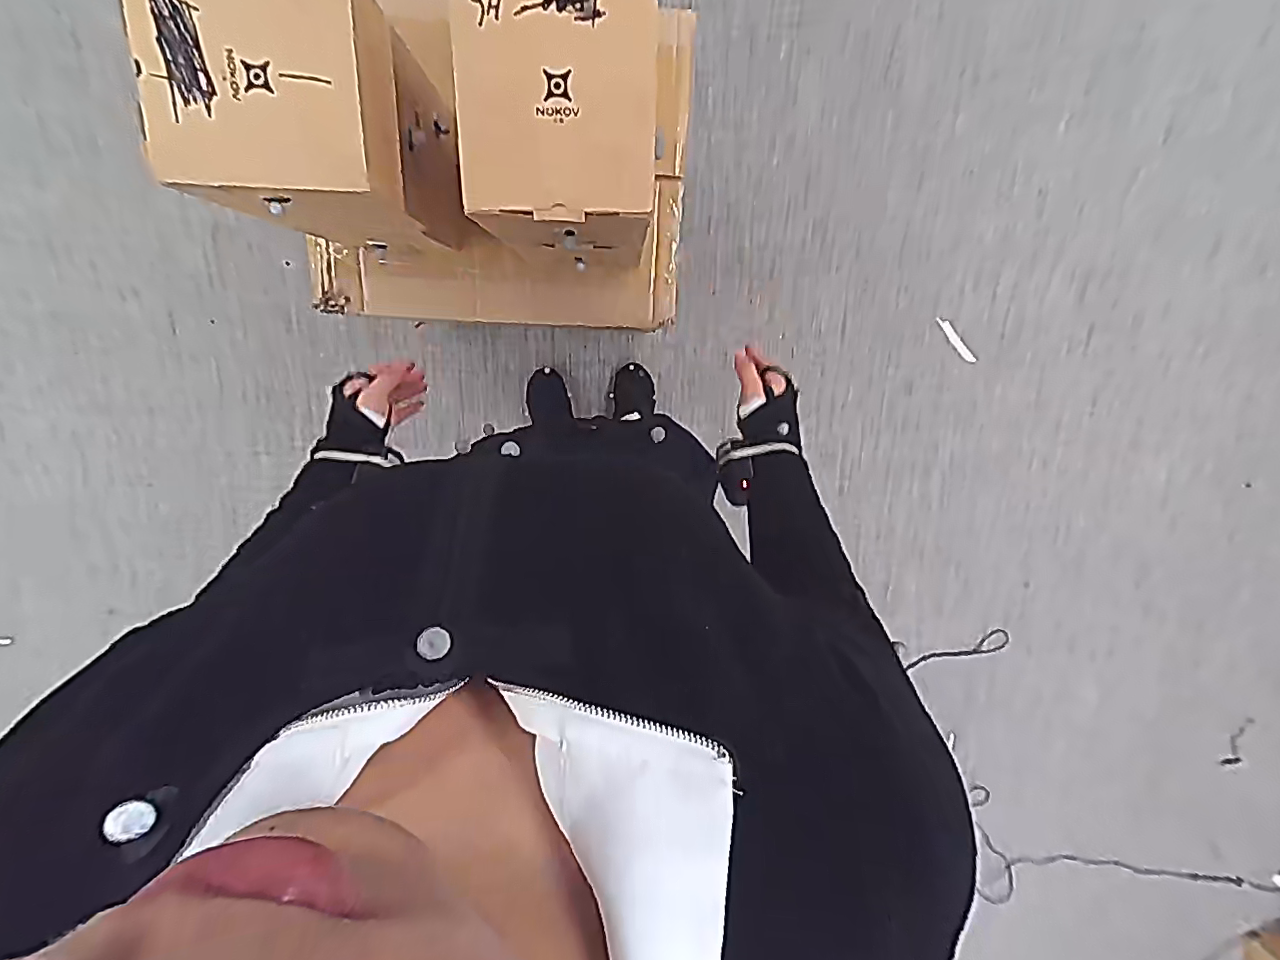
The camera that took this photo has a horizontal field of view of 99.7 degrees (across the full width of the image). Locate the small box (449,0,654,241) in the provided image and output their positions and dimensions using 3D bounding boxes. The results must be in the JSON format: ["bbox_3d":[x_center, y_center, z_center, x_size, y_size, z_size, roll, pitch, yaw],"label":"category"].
[{"bbox_3d":[-0.073,-0.337,0.525,0.168,0.176,0.179,1,106,-2],"label":"small box"}]

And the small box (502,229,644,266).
[{"bbox_3d":[-0.076,-0.378,0.684,0.168,0.176,0.179,2,105,-2],"label":"small box"}]

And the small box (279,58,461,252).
[{"bbox_3d":[-0.328,-0.392,0.670,0.168,0.176,0.179,1,106,-3],"label":"small box"}]

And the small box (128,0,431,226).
[{"bbox_3d":[-0.317,-0.347,0.513,0.179,0.176,0.168,1,105,-4],"label":"small box"}]
